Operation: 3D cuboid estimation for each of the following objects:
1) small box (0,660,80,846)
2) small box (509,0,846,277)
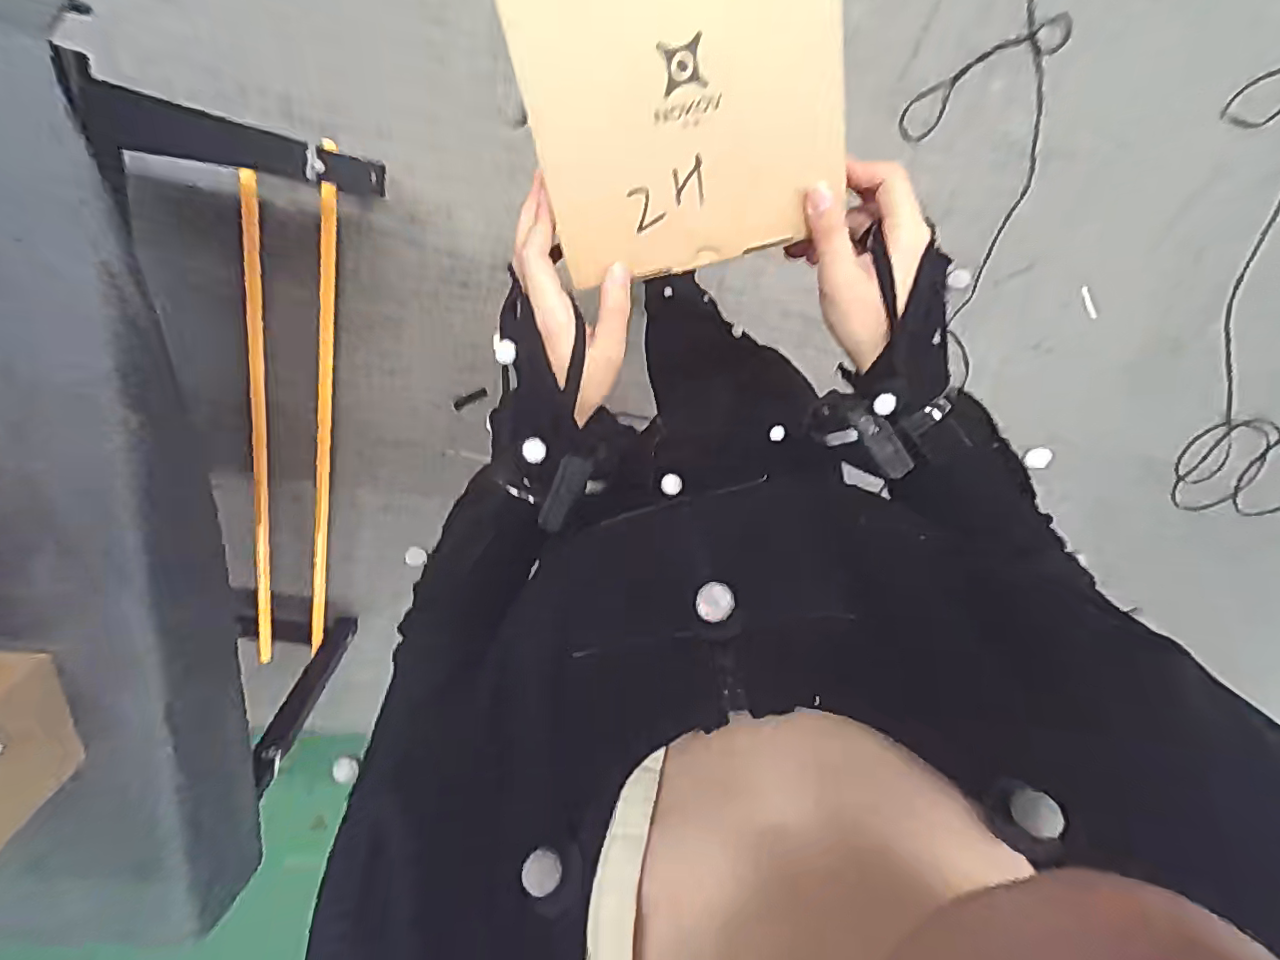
[{"bbox_3d":[-0.760,0.300,0.564,0.168,0.176,0.179,7,114,-7],"label":"small box"},{"bbox_3d":[0.021,-0.247,0.350,0.168,0.176,0.179,-11,118,5],"label":"small box"}]
